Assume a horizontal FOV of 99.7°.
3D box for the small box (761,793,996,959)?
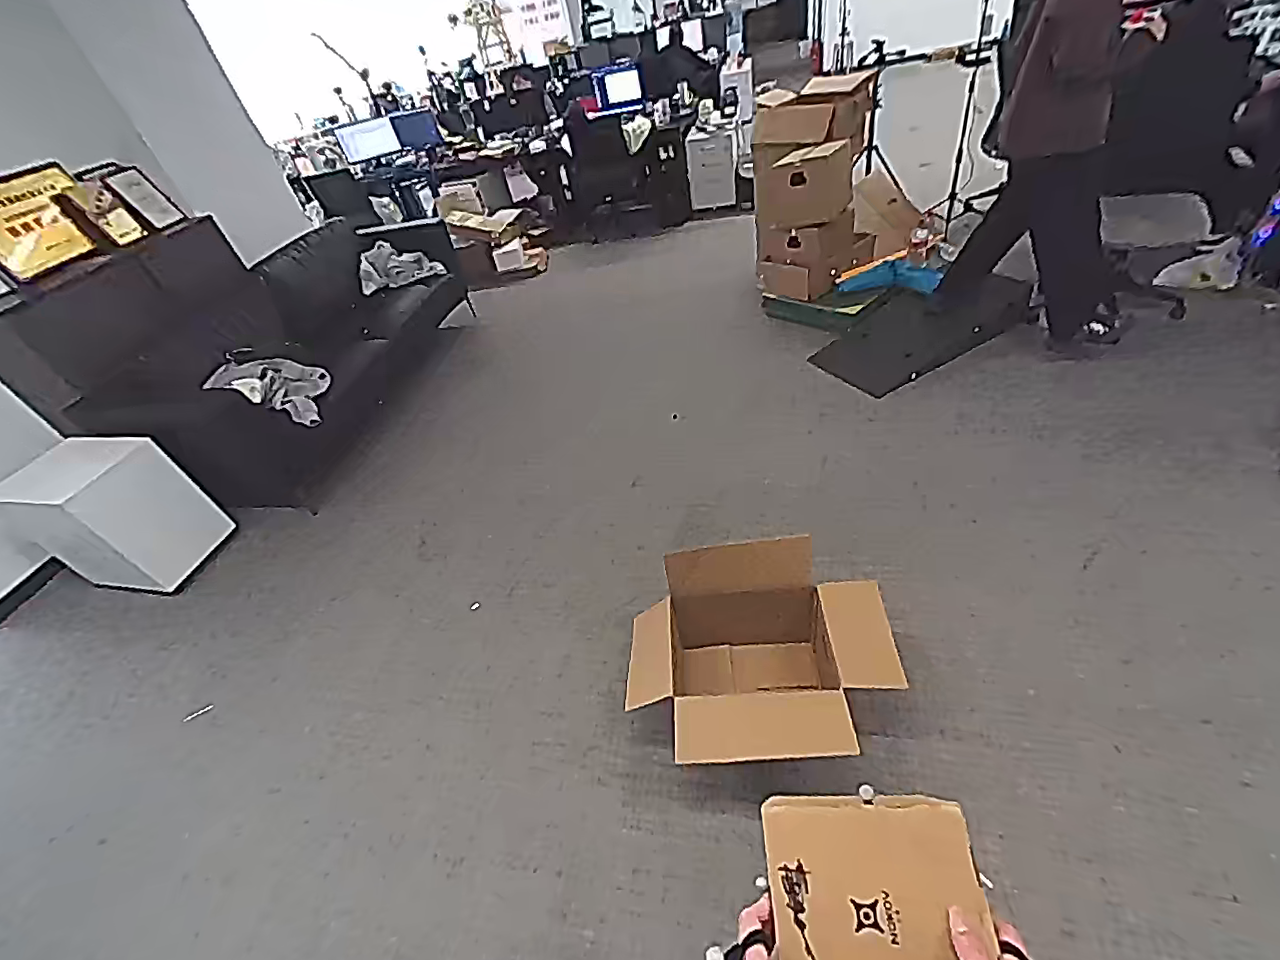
[{"bbox_3d":[0.219,0.407,0.531,0.179,0.176,0.168,-8,61,12],"label":"small box"}]
